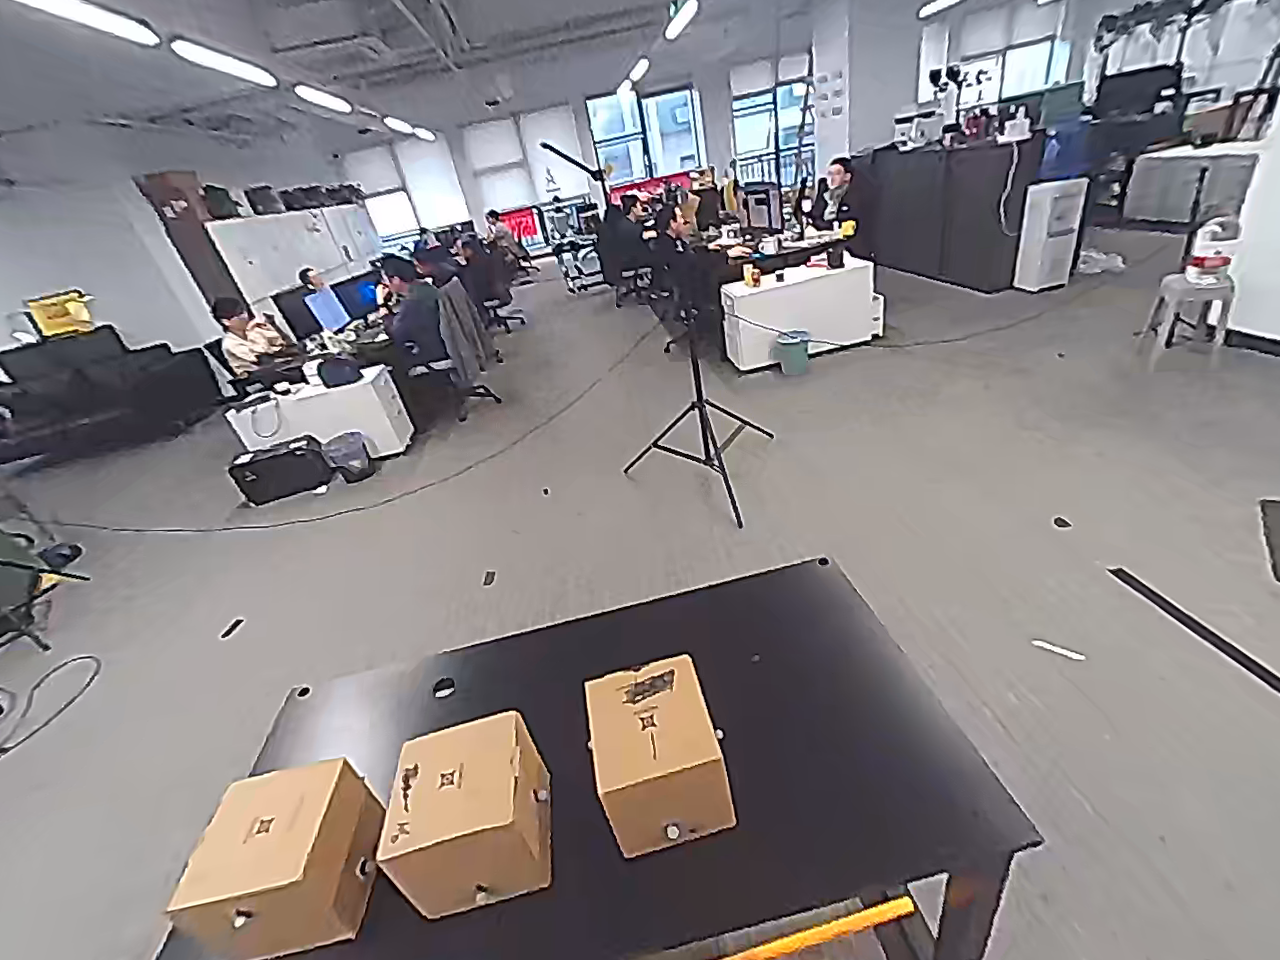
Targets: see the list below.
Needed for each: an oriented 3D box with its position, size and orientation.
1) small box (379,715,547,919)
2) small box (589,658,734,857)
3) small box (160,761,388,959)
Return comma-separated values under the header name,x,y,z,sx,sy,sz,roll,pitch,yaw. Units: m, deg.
name,x,y,z,sx,sy,sz,roll,pitch,yaw
small box,-0.232,0.472,0.764,0.179,0.176,0.168,-13,30,-4
small box,0.029,0.398,0.788,0.168,0.176,0.179,-15,30,-3
small box,-0.488,0.534,0.757,0.179,0.176,0.168,-12,30,-1
